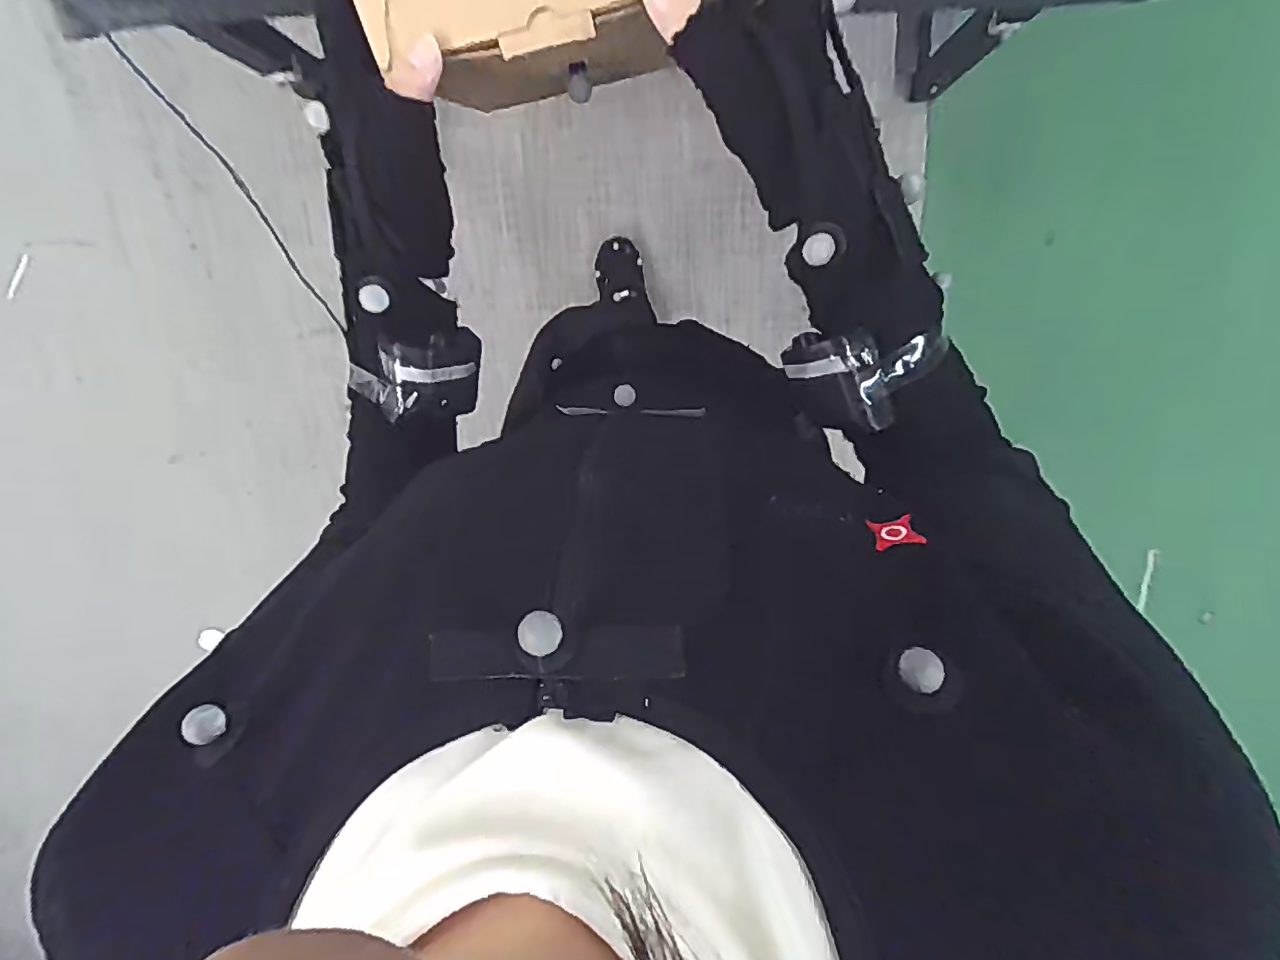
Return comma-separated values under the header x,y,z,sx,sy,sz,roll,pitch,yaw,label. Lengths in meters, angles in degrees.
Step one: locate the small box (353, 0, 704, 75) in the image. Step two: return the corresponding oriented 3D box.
x,y,z,sx,sy,sz,roll,pitch,yaw,label
-0.056,-0.324,0.266,0.168,0.176,0.179,-8,120,8,small box
